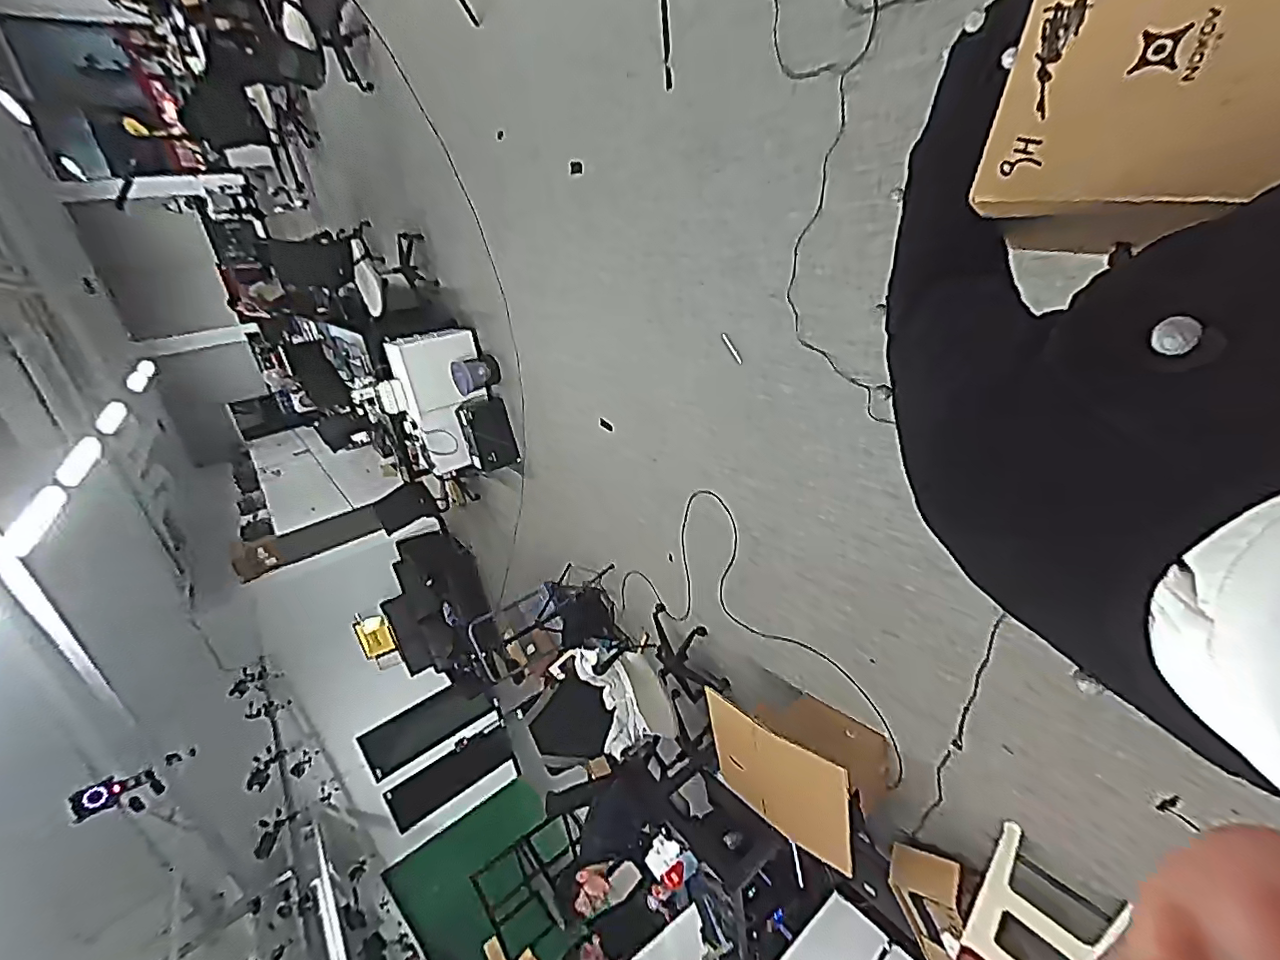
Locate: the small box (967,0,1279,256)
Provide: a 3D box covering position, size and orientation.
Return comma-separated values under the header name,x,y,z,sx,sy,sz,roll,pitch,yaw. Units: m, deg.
name,x,y,z,sx,sy,sz,roll,pitch,yaw
small box,0.372,-0.263,0.380,0.179,0.176,0.168,26,112,38
